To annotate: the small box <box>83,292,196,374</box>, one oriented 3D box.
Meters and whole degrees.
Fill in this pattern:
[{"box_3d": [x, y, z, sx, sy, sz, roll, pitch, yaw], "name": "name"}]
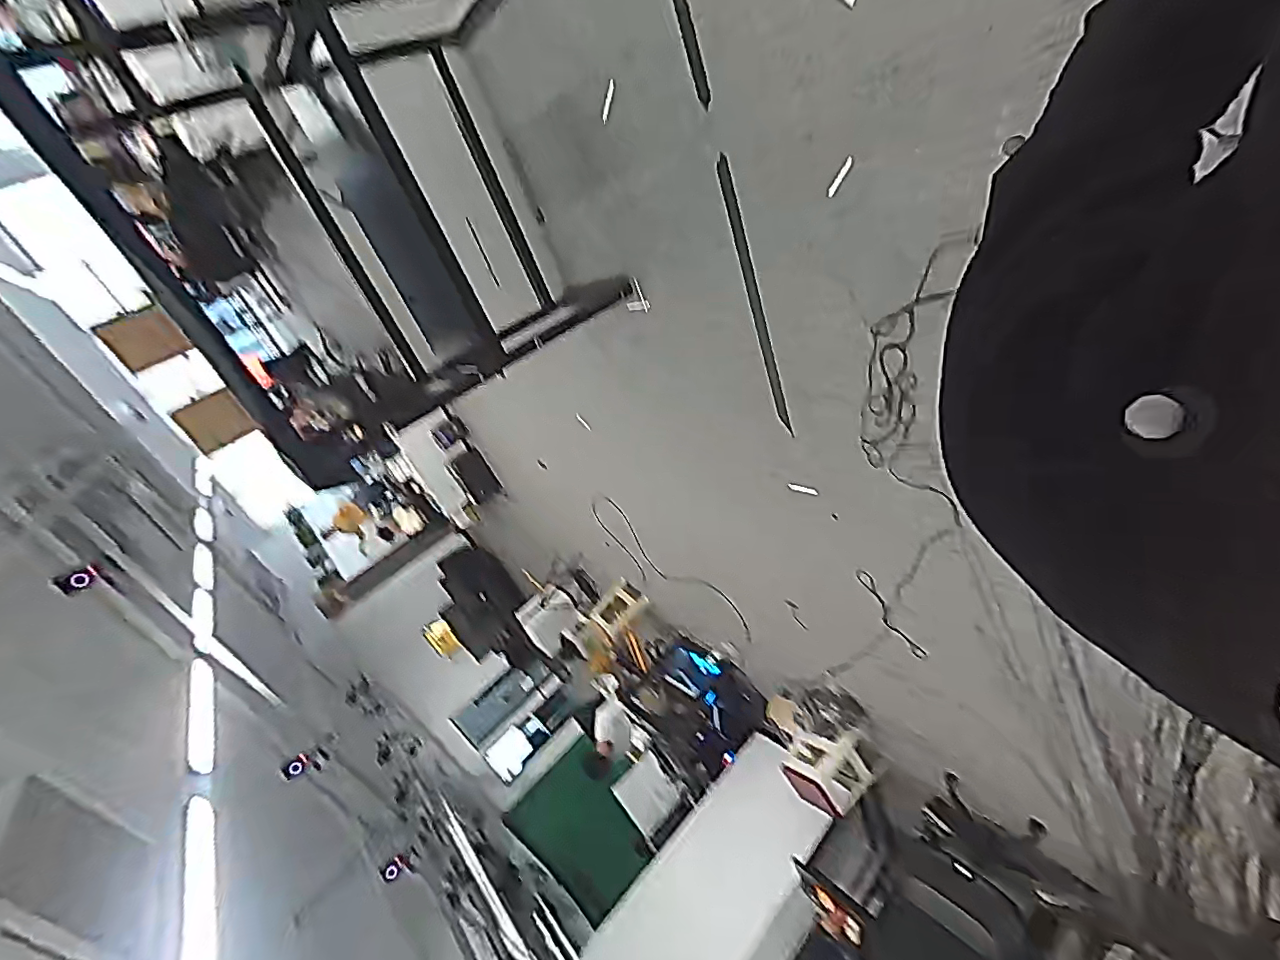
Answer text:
[{"box_3d": [-1.386, -0.414, 1.513, 0.179, 0.176, 0.168, 18, 139, 50], "name": "small box"}]
